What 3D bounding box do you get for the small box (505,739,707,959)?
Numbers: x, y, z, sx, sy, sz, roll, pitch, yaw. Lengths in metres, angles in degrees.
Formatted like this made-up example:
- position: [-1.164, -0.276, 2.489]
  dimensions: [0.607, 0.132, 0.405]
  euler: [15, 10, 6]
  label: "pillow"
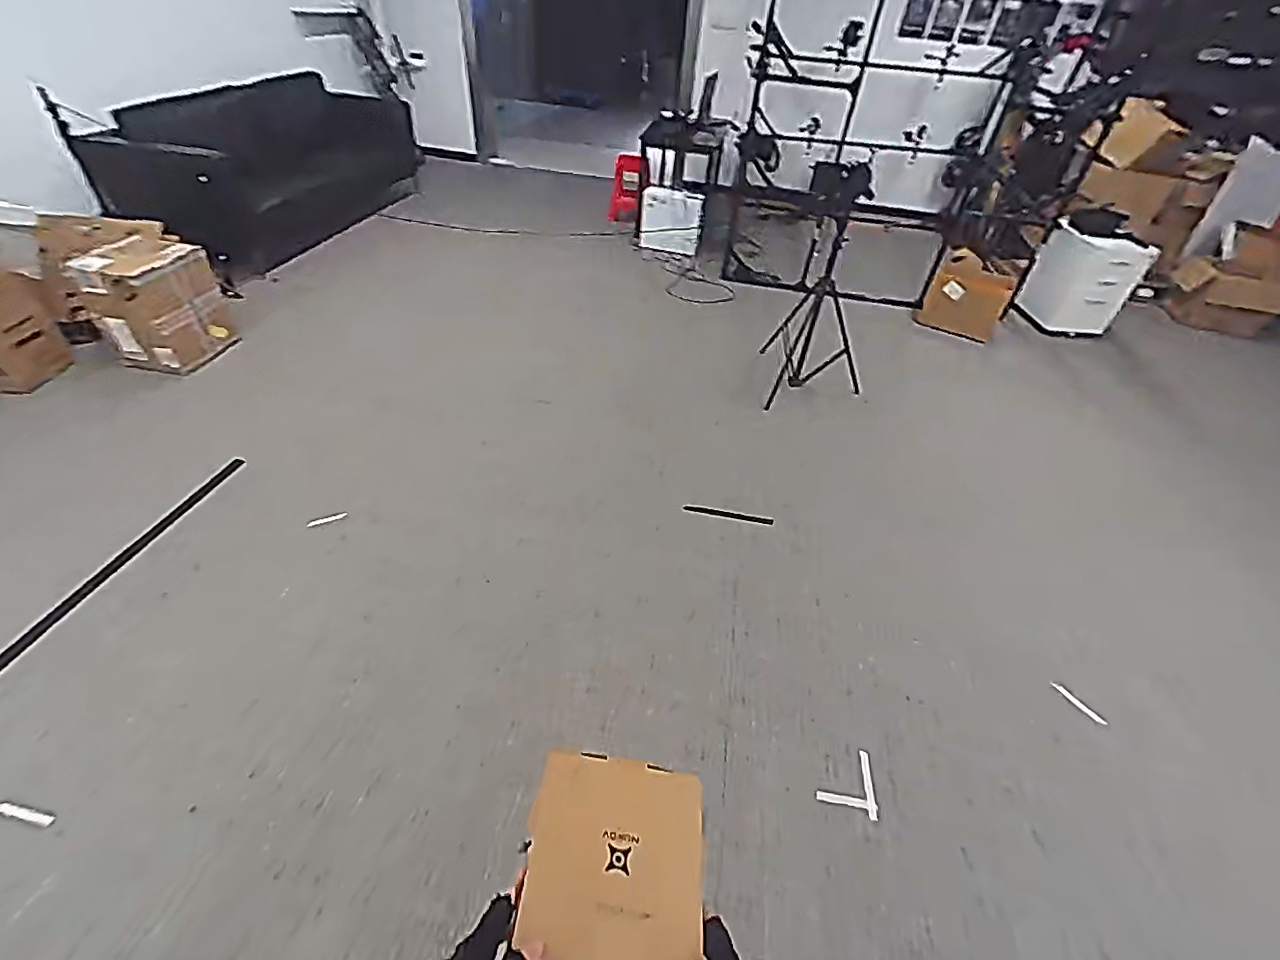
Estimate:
- position: [-0.035, 0.404, 0.554]
  dimensions: [0.168, 0.176, 0.179]
  euler: [13, 37, -4]
  label: "small box"
